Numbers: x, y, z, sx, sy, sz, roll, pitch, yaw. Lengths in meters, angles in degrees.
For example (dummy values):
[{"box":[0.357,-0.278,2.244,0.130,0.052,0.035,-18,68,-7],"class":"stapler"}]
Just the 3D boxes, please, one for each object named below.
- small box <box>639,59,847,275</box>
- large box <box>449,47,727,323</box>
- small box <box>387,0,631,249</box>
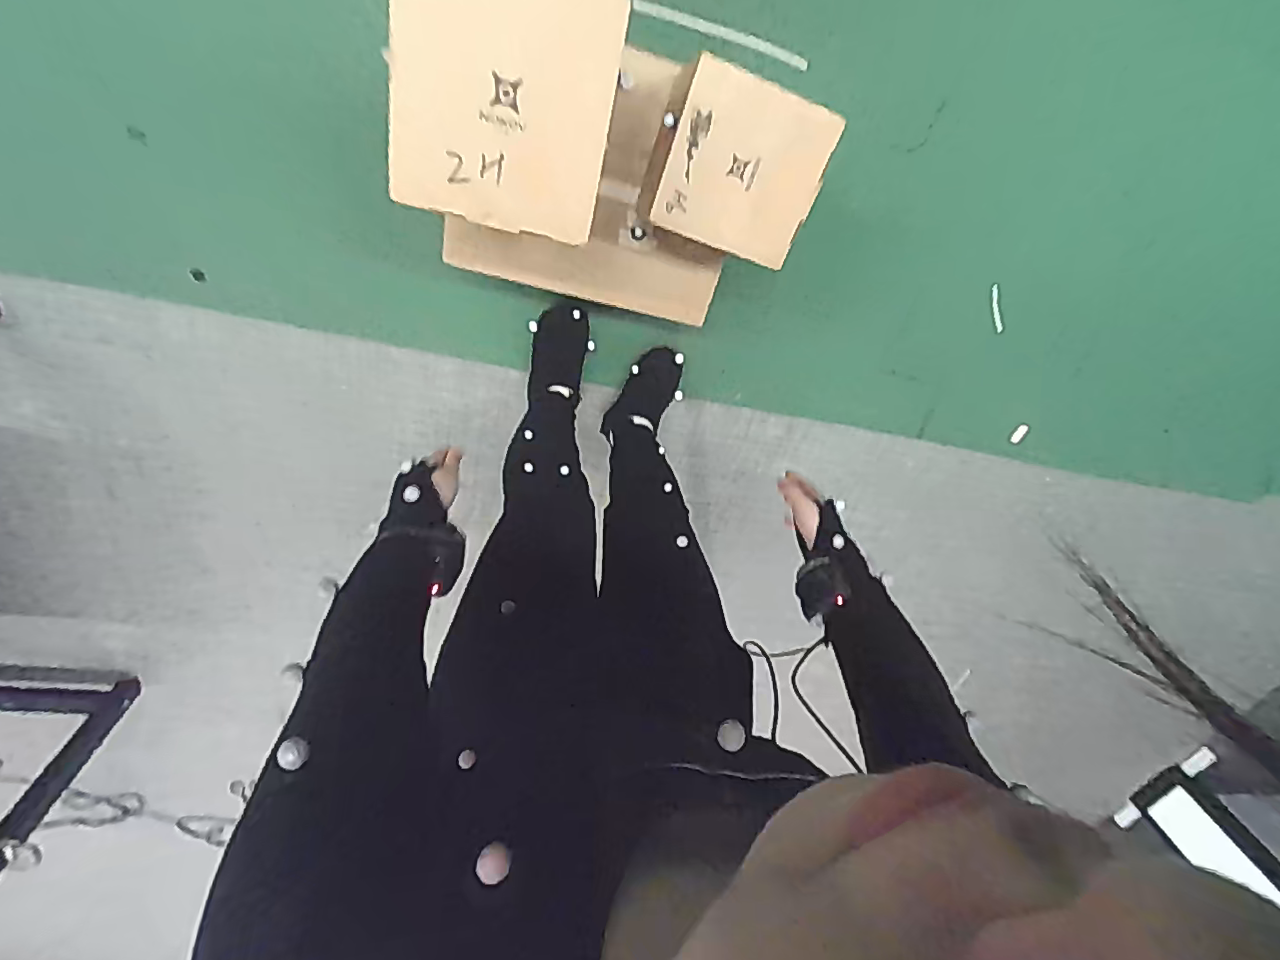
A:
[{"box":[0.110,-0.376,0.664,0.179,0.176,0.168,15,118,-14],"class":"small box"},{"box":[-0.066,-0.482,0.869,0.408,0.320,0.320,9,121,-13],"class":"large box"},{"box":[-0.113,-0.327,0.479,0.168,0.176,0.179,9,120,-12],"class":"small box"}]
